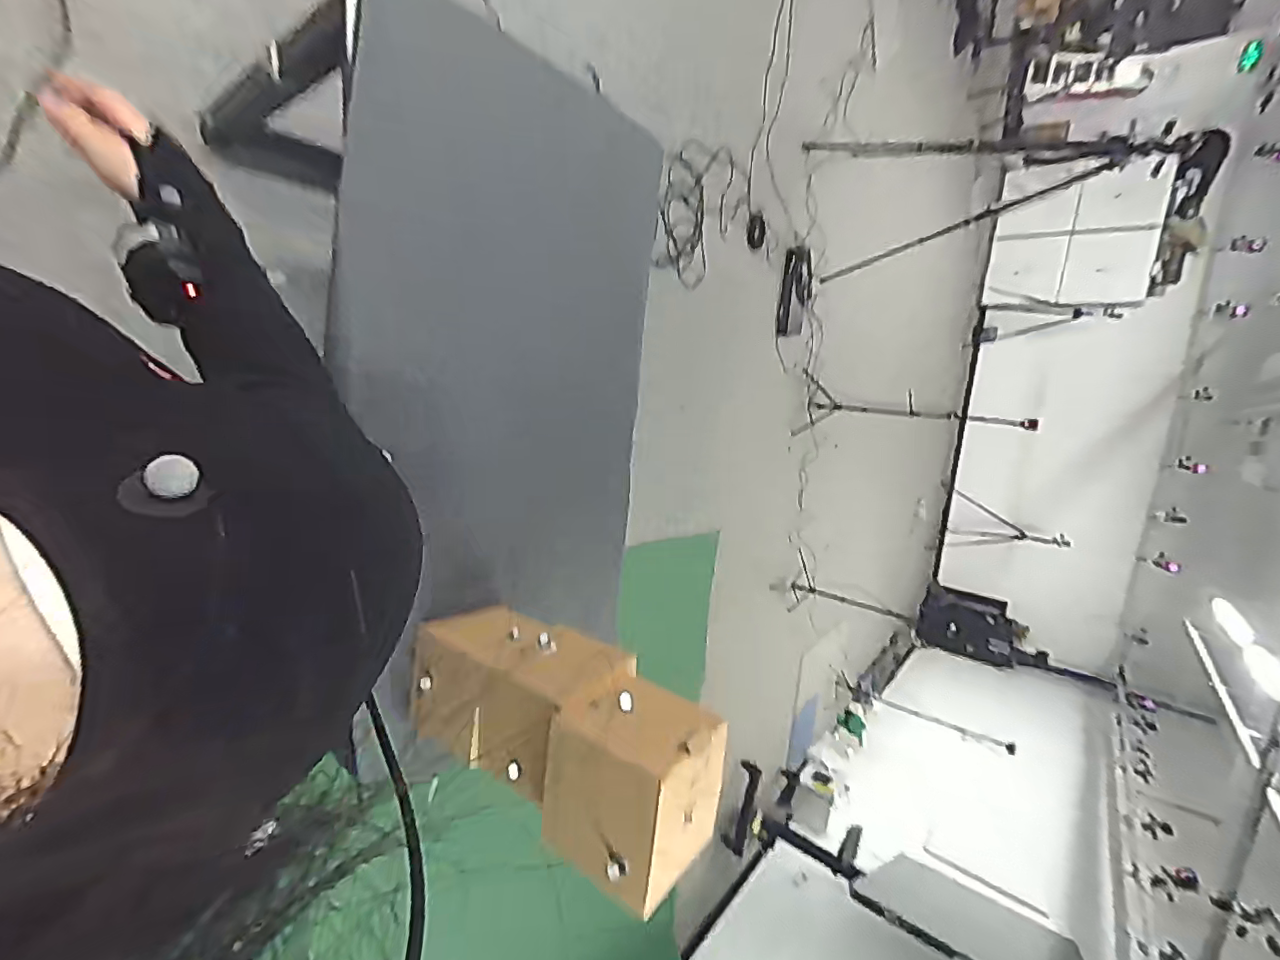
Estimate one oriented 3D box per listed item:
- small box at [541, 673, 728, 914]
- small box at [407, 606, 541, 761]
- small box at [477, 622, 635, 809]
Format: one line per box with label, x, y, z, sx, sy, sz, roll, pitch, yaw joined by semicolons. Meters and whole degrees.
small box;-0.008;0.380;0.694;0.168;0.176;0.179;-4;103;-55
small box;-0.256;0.322;0.900;0.179;0.176;0.168;1;98;-53
small box;-0.126;0.338;0.804;0.168;0.176;0.179;-12;108;-54
